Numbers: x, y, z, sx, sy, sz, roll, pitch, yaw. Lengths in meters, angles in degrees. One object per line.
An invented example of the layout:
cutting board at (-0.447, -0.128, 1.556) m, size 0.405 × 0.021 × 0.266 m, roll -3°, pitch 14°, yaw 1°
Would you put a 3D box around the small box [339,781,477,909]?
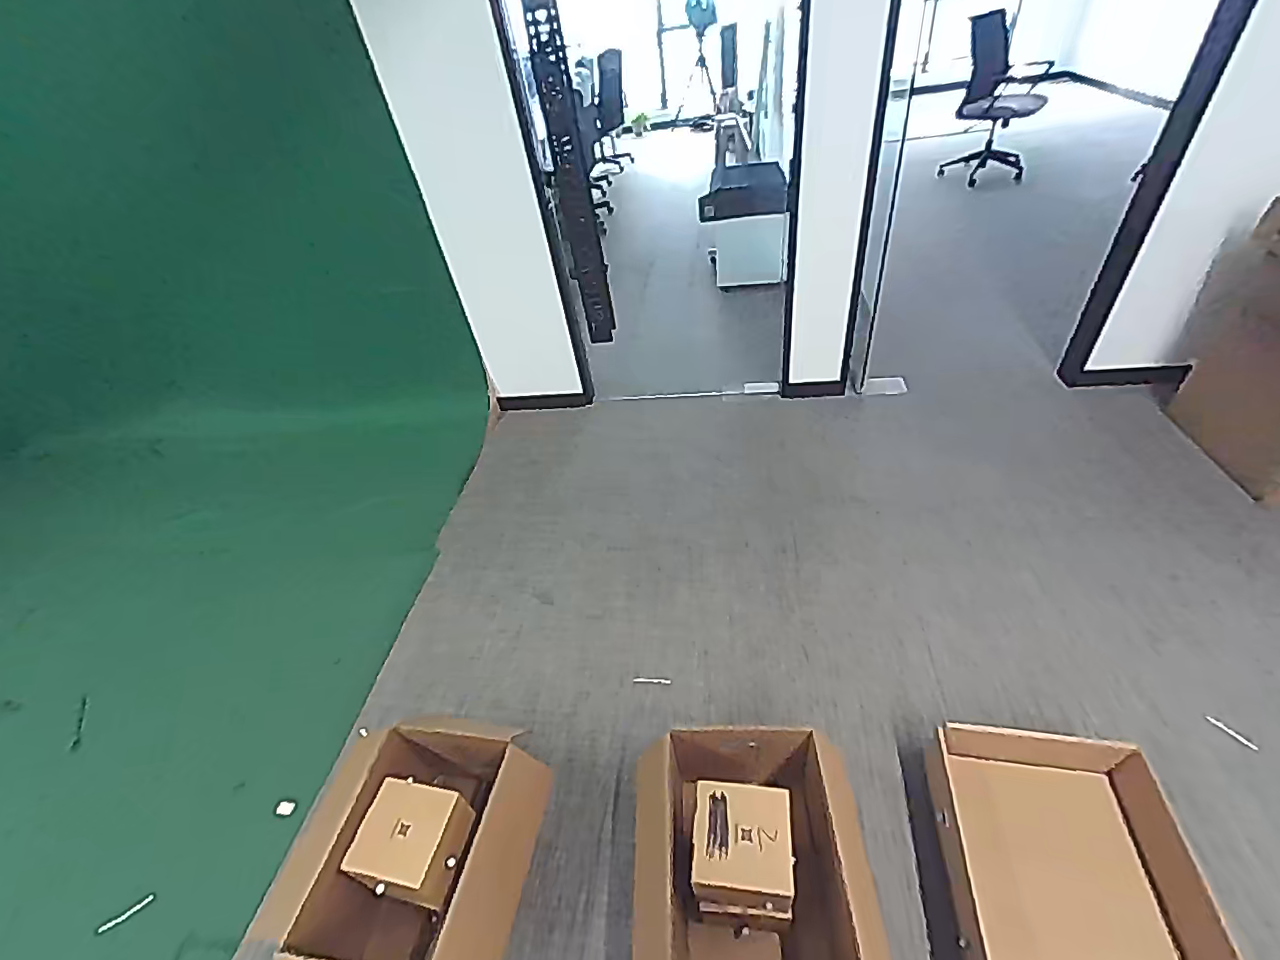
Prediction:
small box at (-0.461, 0.751, 1.110) m, size 0.179 × 0.176 × 0.168 m, roll 3°, pitch 42°, yaw 13°
